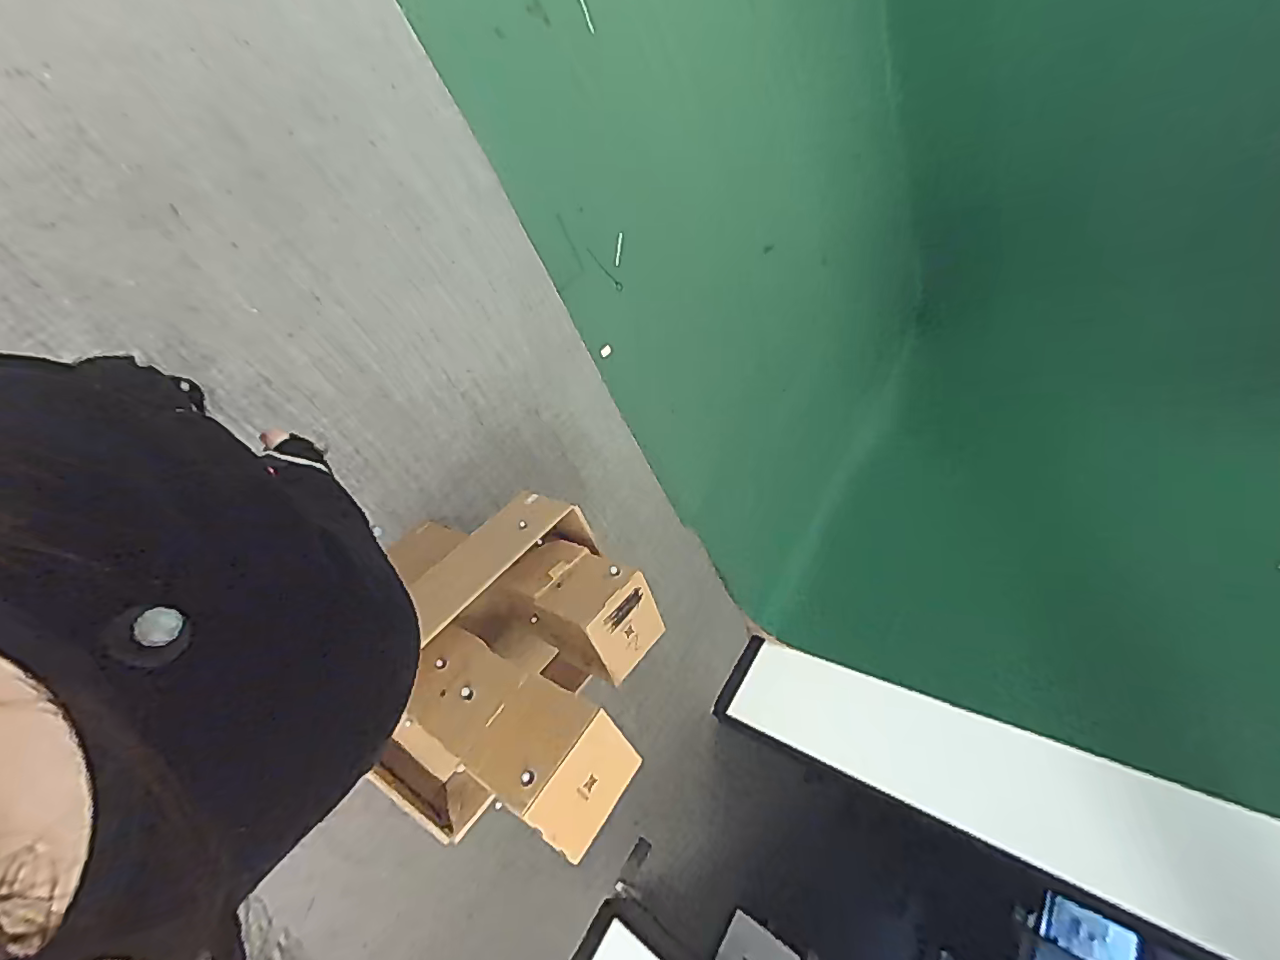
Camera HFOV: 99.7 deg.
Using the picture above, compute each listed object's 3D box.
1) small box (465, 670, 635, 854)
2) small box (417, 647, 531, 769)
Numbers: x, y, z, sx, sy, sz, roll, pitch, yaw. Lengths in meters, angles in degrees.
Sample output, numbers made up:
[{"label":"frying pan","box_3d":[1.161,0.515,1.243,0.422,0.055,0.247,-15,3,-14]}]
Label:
[{"label":"small box","box_3d":[-0.143,0.440,0.870,0.179,0.176,0.168,-48,128,-31]},{"label":"small box","box_3d":[-0.265,0.427,0.979,0.168,0.176,0.179,-49,127,-30]}]
